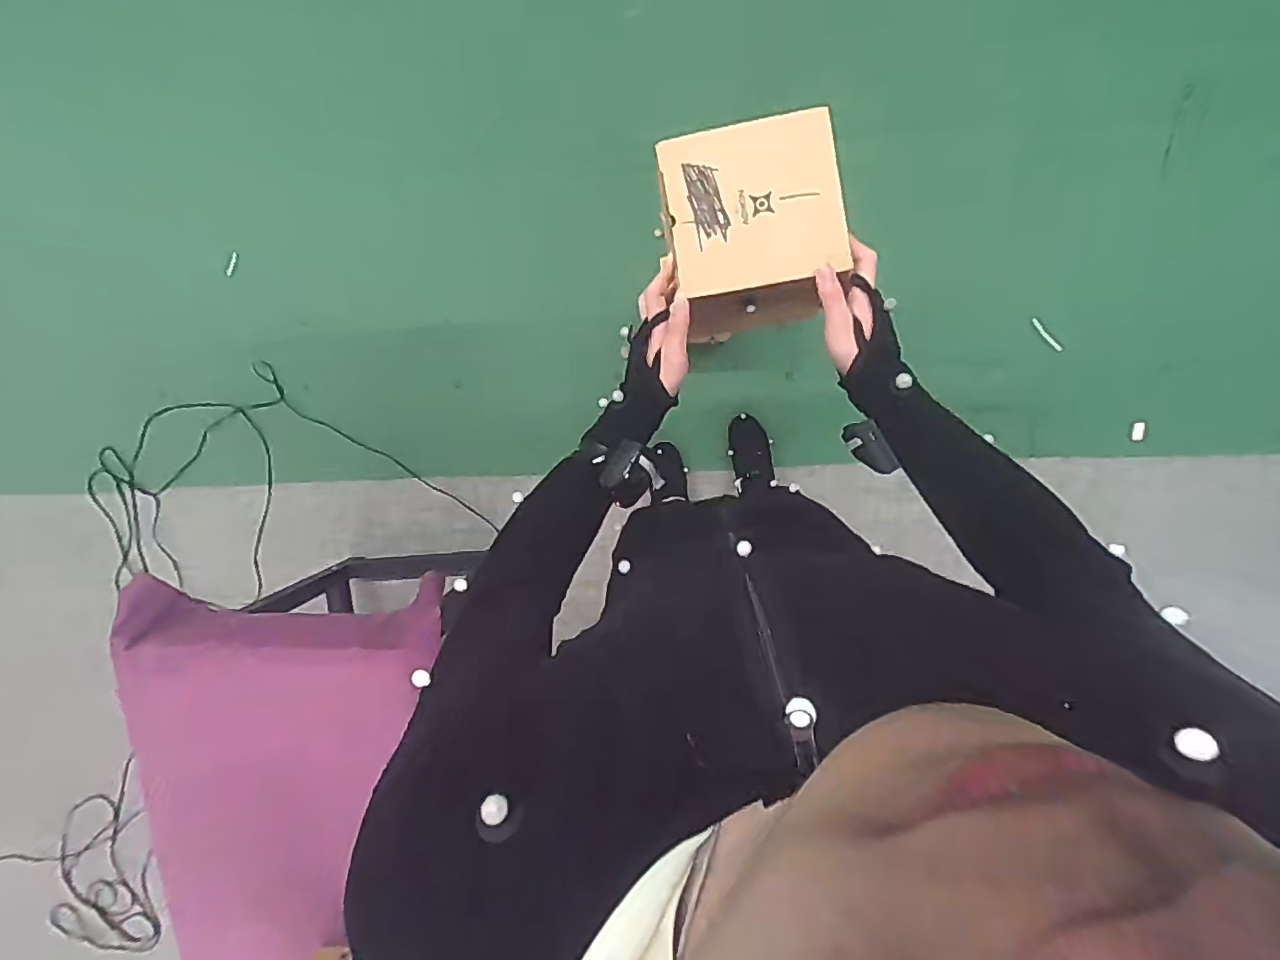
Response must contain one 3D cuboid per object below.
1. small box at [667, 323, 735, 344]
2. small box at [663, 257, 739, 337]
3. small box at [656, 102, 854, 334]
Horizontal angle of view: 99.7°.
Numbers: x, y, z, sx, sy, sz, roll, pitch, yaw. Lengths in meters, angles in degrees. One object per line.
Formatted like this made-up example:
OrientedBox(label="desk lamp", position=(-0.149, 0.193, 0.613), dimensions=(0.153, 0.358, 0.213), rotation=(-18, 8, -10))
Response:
OrientedBox(label="small box", position=(0.163, -0.466, 1.474), dimensions=(0.179, 0.176, 0.168), rotation=(-2, 98, 6))
OrientedBox(label="small box", position=(0.153, -0.445, 1.313), dimensions=(0.179, 0.176, 0.168), rotation=(-4, 98, 8))
OrientedBox(label="small box", position=(0.121, -0.276, 0.614), dimensions=(0.179, 0.176, 0.168), rotation=(-9, 89, 5))
